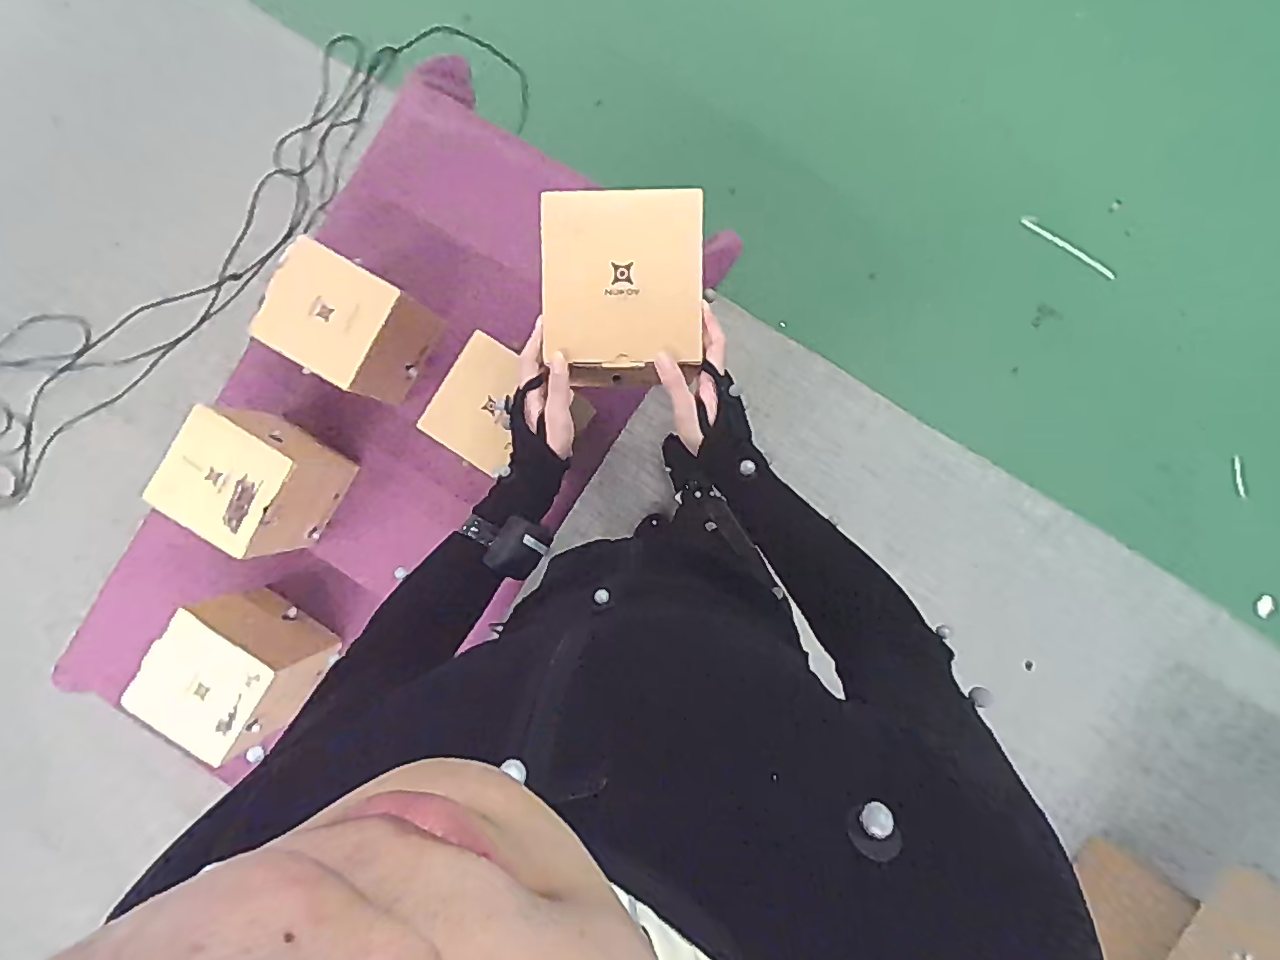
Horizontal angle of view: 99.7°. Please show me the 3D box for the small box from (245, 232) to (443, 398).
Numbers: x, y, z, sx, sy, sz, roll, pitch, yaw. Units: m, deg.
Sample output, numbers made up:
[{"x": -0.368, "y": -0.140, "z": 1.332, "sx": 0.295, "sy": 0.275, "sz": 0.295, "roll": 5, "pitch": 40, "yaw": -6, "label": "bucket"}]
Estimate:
[{"x": -0.450, "y": -0.244, "z": 0.849, "sx": 0.179, "sy": 0.176, "sz": 0.168, "roll": 30, "pitch": 92, "yaw": 1, "label": "small box"}]

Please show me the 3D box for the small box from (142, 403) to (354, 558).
[{"x": -0.599, "y": -0.001, "z": 0.853, "sx": 0.179, "sy": 0.176, "sz": 0.168, "roll": 31, "pitch": 91, "yaw": 3, "label": "small box"}]

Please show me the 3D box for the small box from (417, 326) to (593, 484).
[{"x": -0.195, "y": -0.102, "z": 0.833, "sx": 0.179, "sy": 0.176, "sz": 0.168, "roll": 33, "pitch": 92, "yaw": 4, "label": "small box"}]

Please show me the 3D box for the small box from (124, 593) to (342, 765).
[{"x": -0.623, "y": 0.294, "z": 0.849, "sx": 0.179, "sy": 0.176, "sz": 0.168, "roll": 32, "pitch": 92, "yaw": 3, "label": "small box"}]

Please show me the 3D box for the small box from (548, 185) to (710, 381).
[{"x": -0.011, "y": -0.213, "z": 0.625, "sx": 0.168, "sy": 0.176, "sz": 0.179, "roll": 0, "pitch": 95, "yaw": 1, "label": "small box"}]
